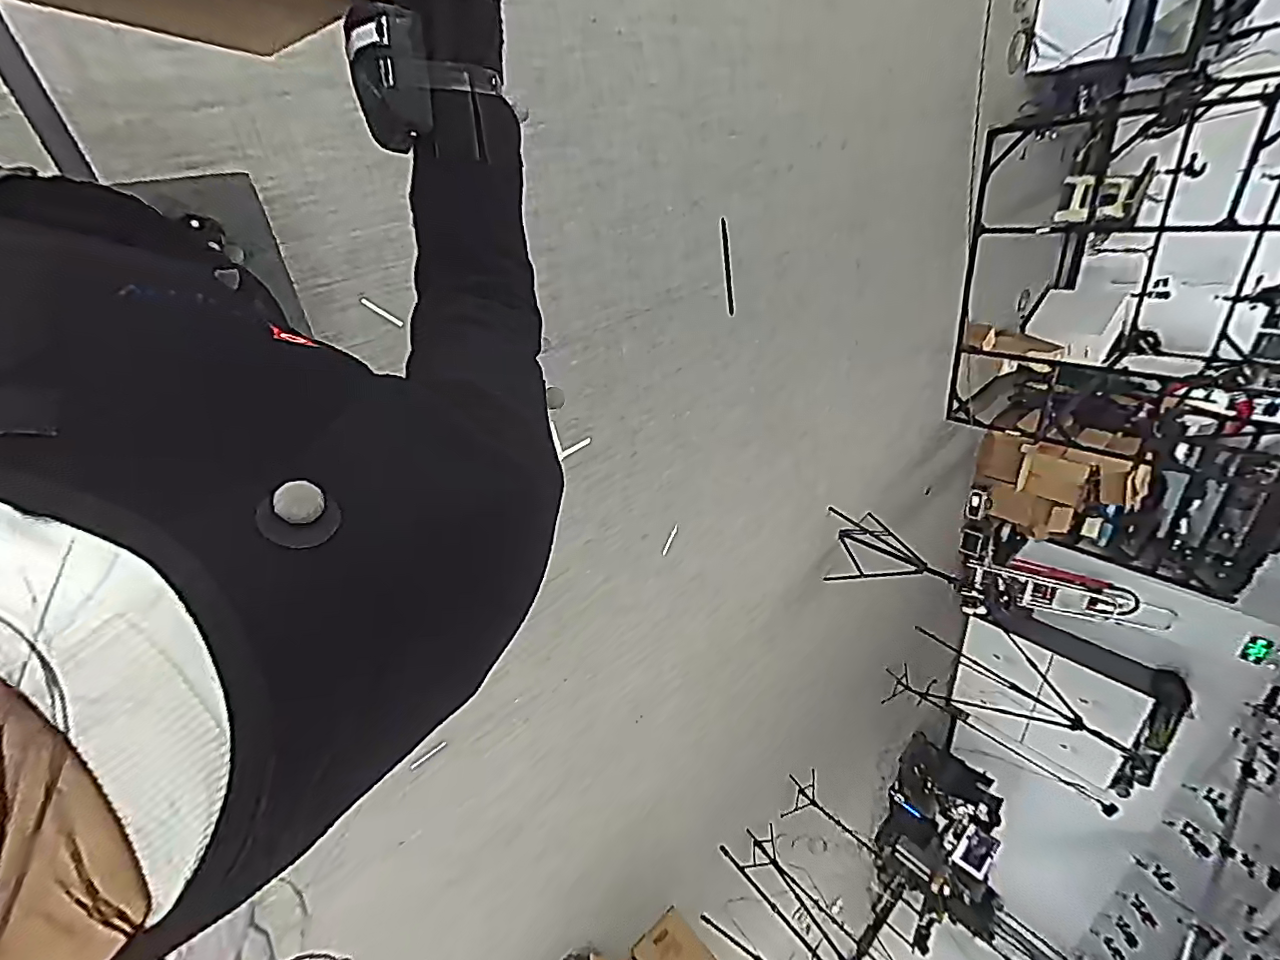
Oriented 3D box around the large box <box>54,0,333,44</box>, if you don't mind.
[{"bbox_3d":[-0.386,-0.429,0.215,0.408,0.320,0.320,-17,126,-39],"label":"large box"}]
